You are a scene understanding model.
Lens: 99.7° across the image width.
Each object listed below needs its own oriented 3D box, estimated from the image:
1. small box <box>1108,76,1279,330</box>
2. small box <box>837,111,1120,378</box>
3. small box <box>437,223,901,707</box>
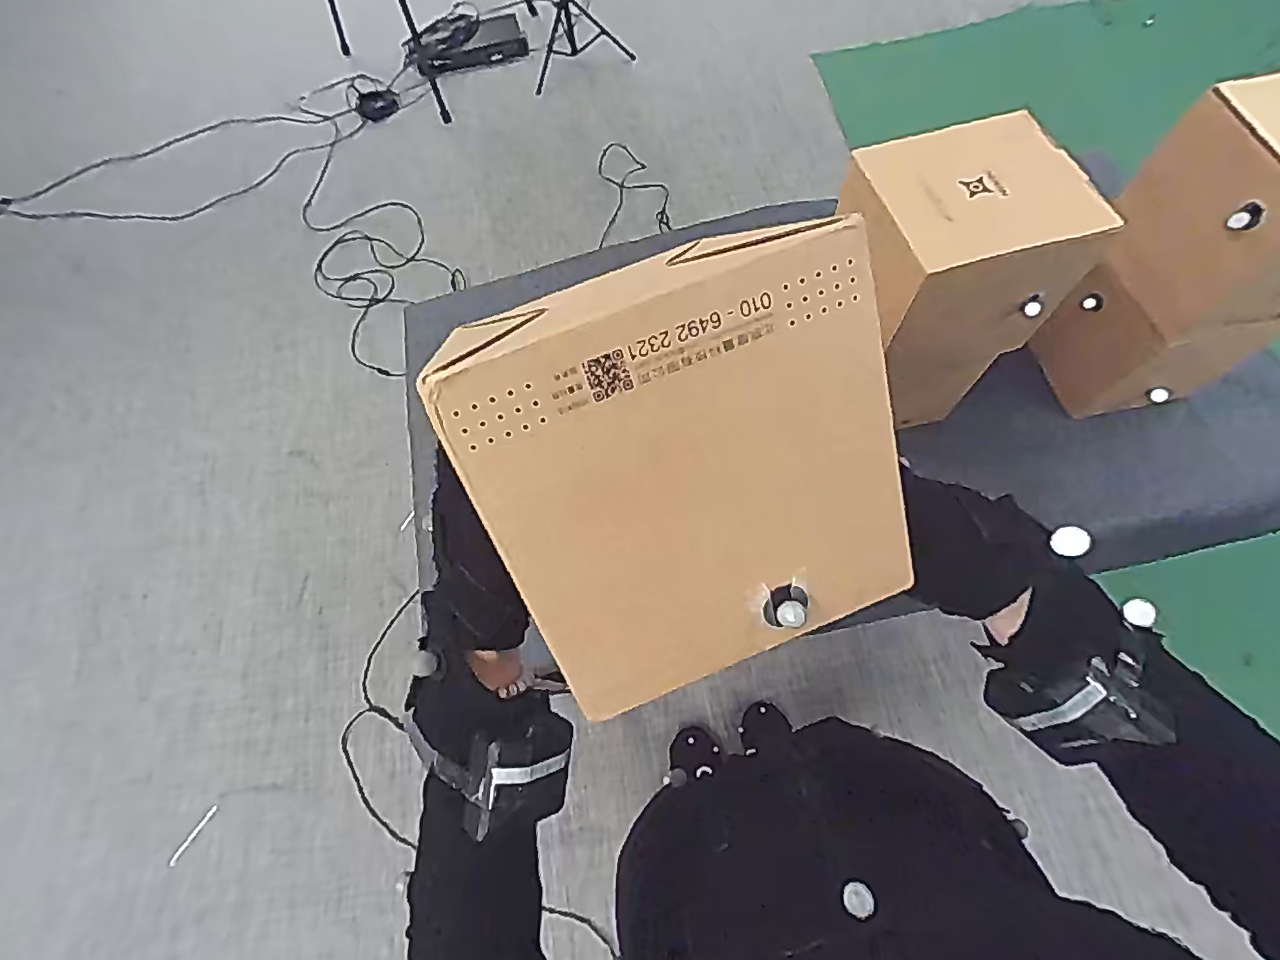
[{"bbox_3d":[0.632,-0.271,0.544,0.168,0.176,0.179,-9,66,2],"label":"small box"},{"bbox_3d":[0.313,-0.232,0.560,0.179,0.176,0.168,-13,65,0],"label":"small box"},{"bbox_3d":[0.010,-0.026,0.294,0.168,0.176,0.179,-22,25,-4],"label":"small box"}]
